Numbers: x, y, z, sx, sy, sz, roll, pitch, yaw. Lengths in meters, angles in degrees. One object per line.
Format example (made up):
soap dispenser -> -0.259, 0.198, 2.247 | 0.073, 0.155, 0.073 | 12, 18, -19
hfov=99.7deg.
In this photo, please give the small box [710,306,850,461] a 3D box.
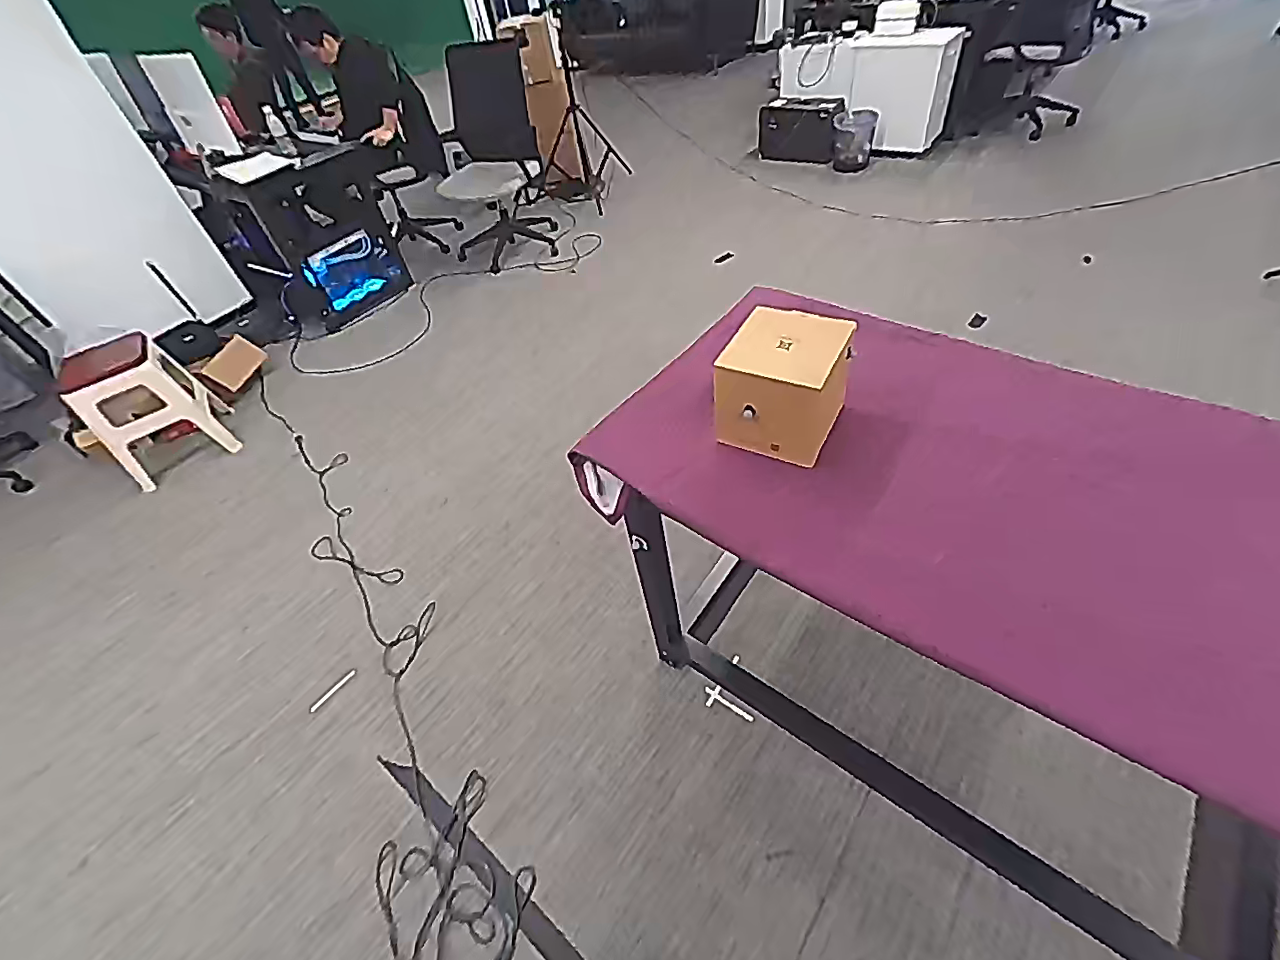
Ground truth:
small box -> 0.229, -0.157, 0.885 | 0.168, 0.176, 0.179 | 18, 54, 25
